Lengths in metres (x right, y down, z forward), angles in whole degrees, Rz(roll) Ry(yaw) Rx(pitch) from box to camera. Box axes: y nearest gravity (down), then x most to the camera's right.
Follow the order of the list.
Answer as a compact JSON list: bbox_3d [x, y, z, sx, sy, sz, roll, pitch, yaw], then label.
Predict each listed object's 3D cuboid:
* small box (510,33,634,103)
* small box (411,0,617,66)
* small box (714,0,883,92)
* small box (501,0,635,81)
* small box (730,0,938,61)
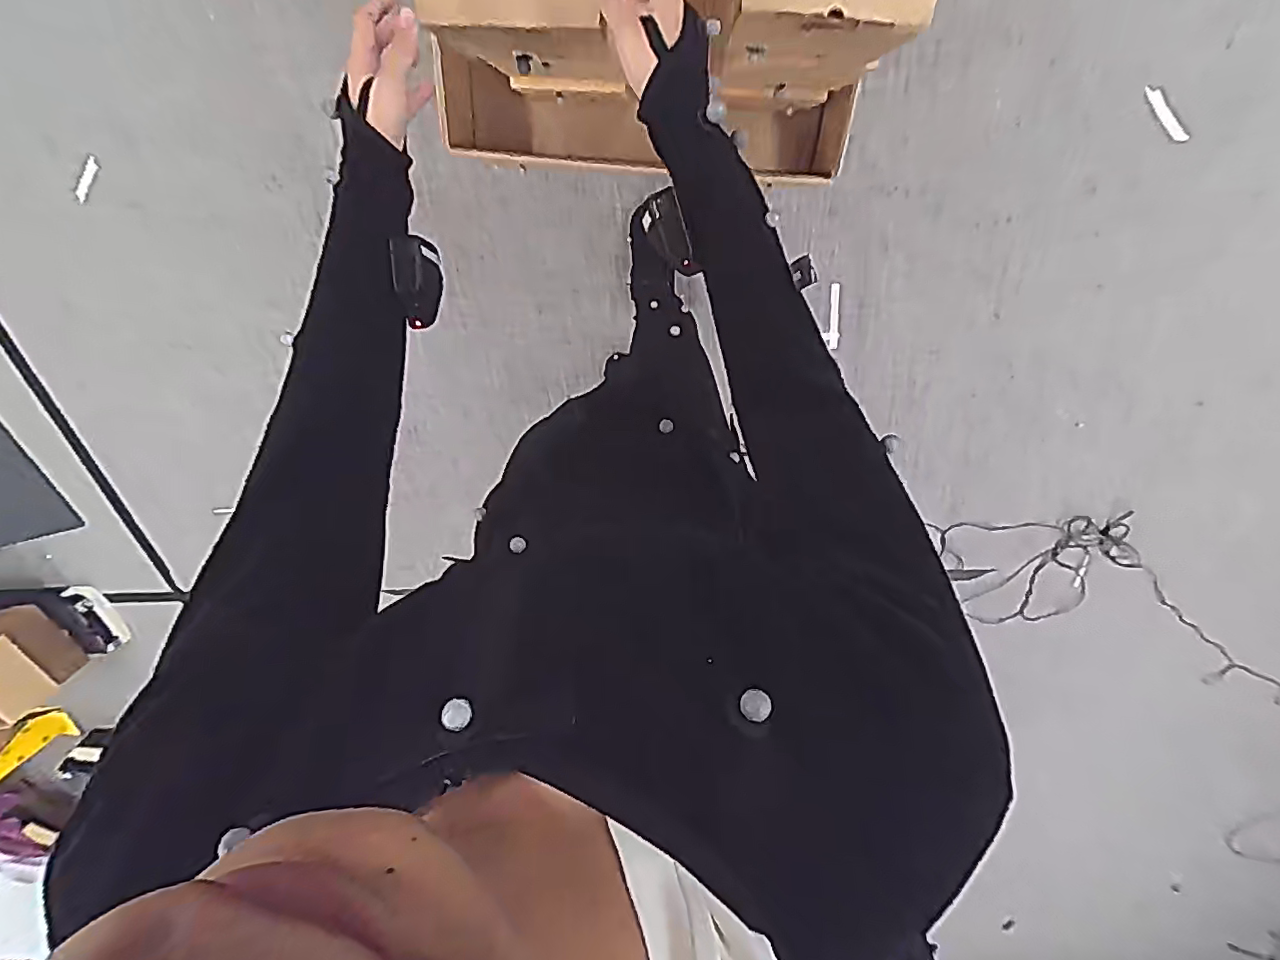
[{"bbox_3d":[-0.094,-0.665,0.788,0.168,0.176,0.179,3,119,0],"label":"small box"},{"bbox_3d":[-0.109,-0.510,0.499,0.168,0.176,0.179,3,119,2],"label":"small box"},{"bbox_3d":[0.186,-0.569,0.635,0.179,0.176,0.168,3,119,2],"label":"small box"},{"bbox_3d":[-0.097,-0.591,0.641,0.179,0.176,0.168,4,119,0],"label":"small box"},{"bbox_3d":[0.178,-0.501,0.483,0.168,0.176,0.179,6,119,0],"label":"small box"}]
